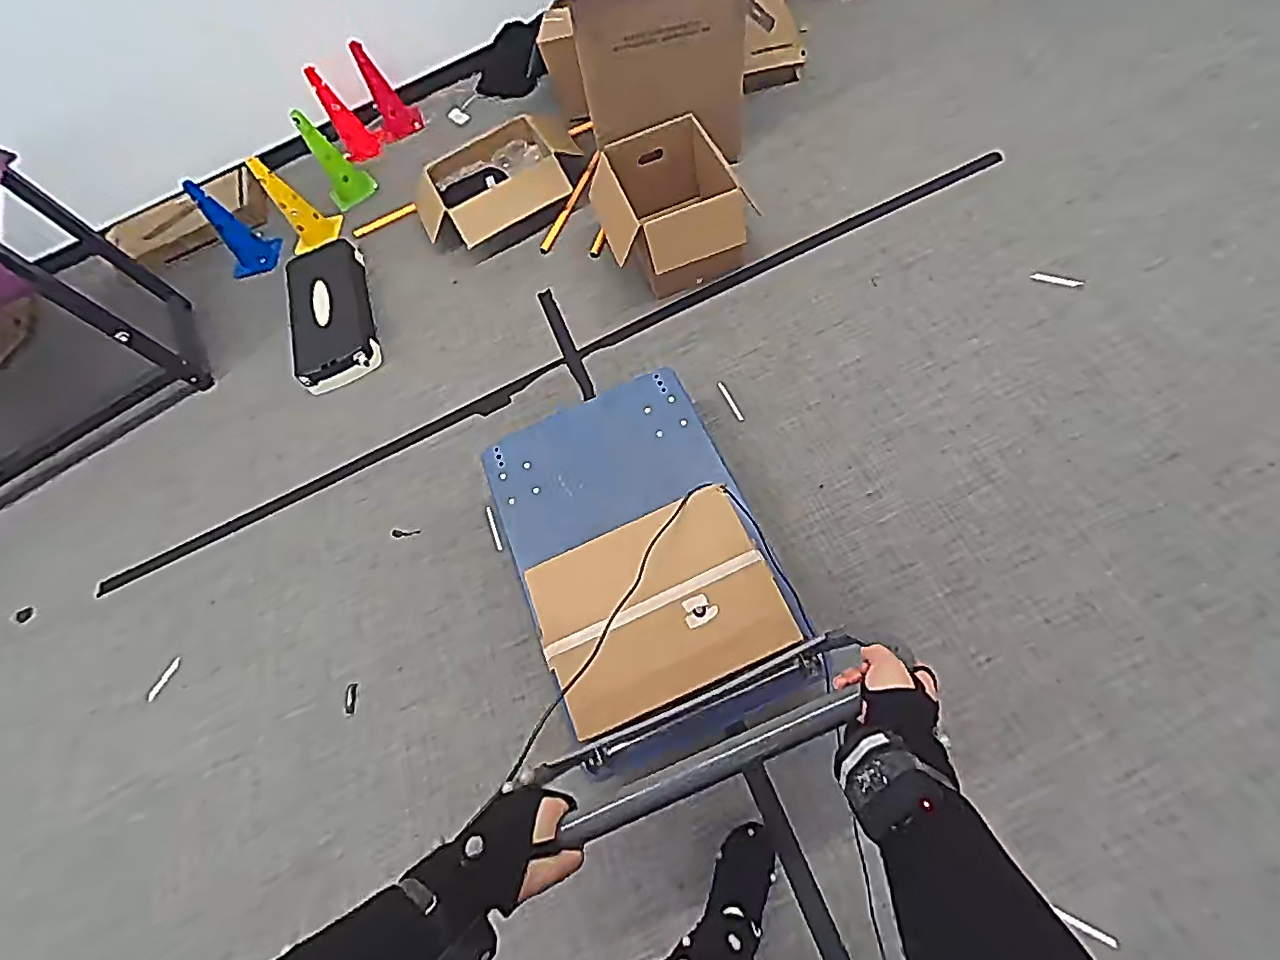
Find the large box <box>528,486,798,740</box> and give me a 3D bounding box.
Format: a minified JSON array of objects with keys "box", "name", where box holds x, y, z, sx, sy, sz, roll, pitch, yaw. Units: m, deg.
[{"box":[0.050,0.278,1.084,0.408,0.320,0.320,-25,66,-1],"name":"large box"}]
